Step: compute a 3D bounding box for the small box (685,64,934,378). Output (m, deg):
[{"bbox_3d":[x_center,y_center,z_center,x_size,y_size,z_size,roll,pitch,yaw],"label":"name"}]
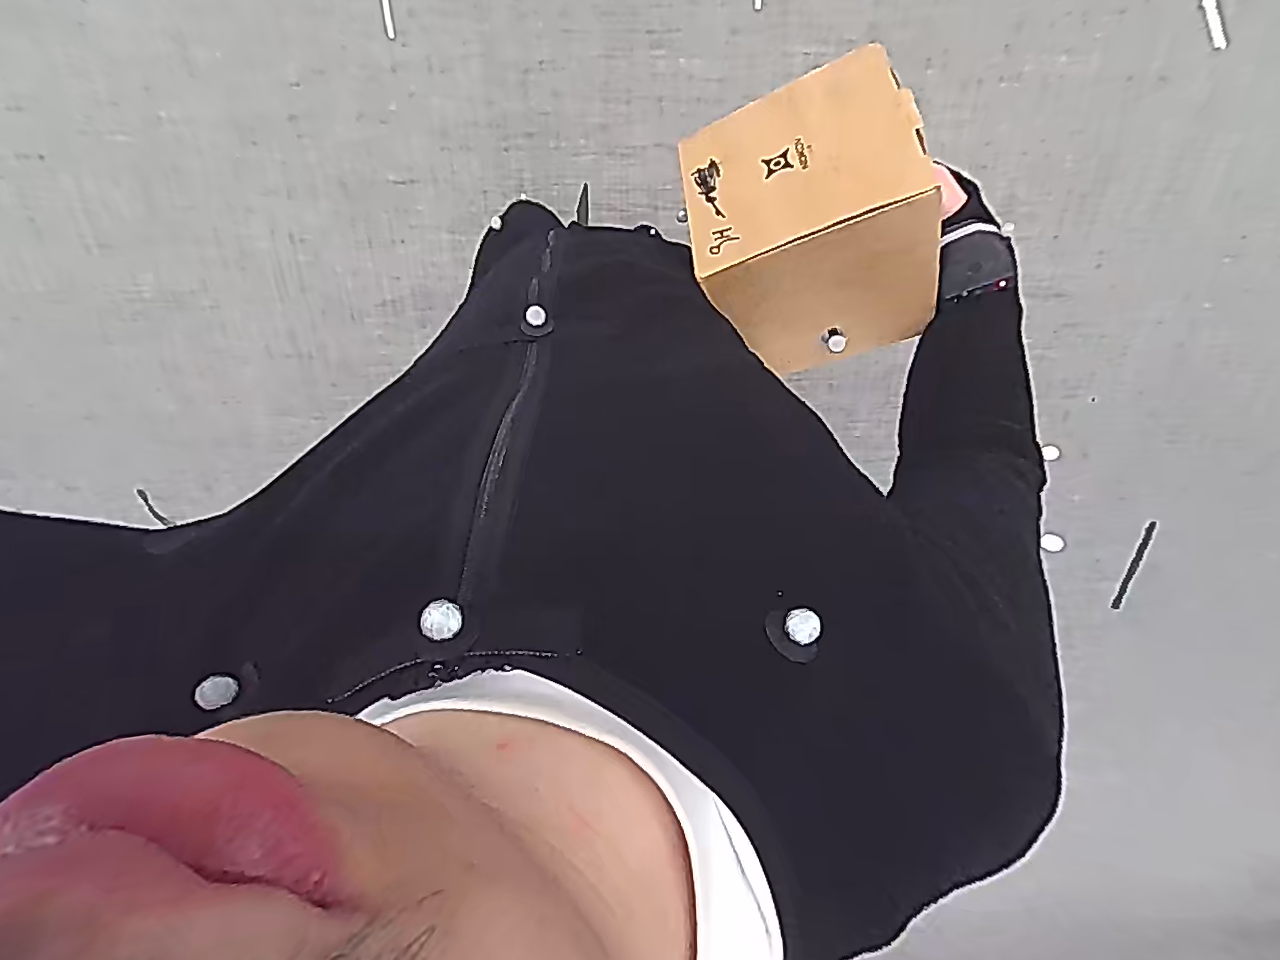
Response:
[{"bbox_3d":[0.157,-0.223,0.509,0.179,0.168,0.176,-14,153,21],"label":"small box"}]
